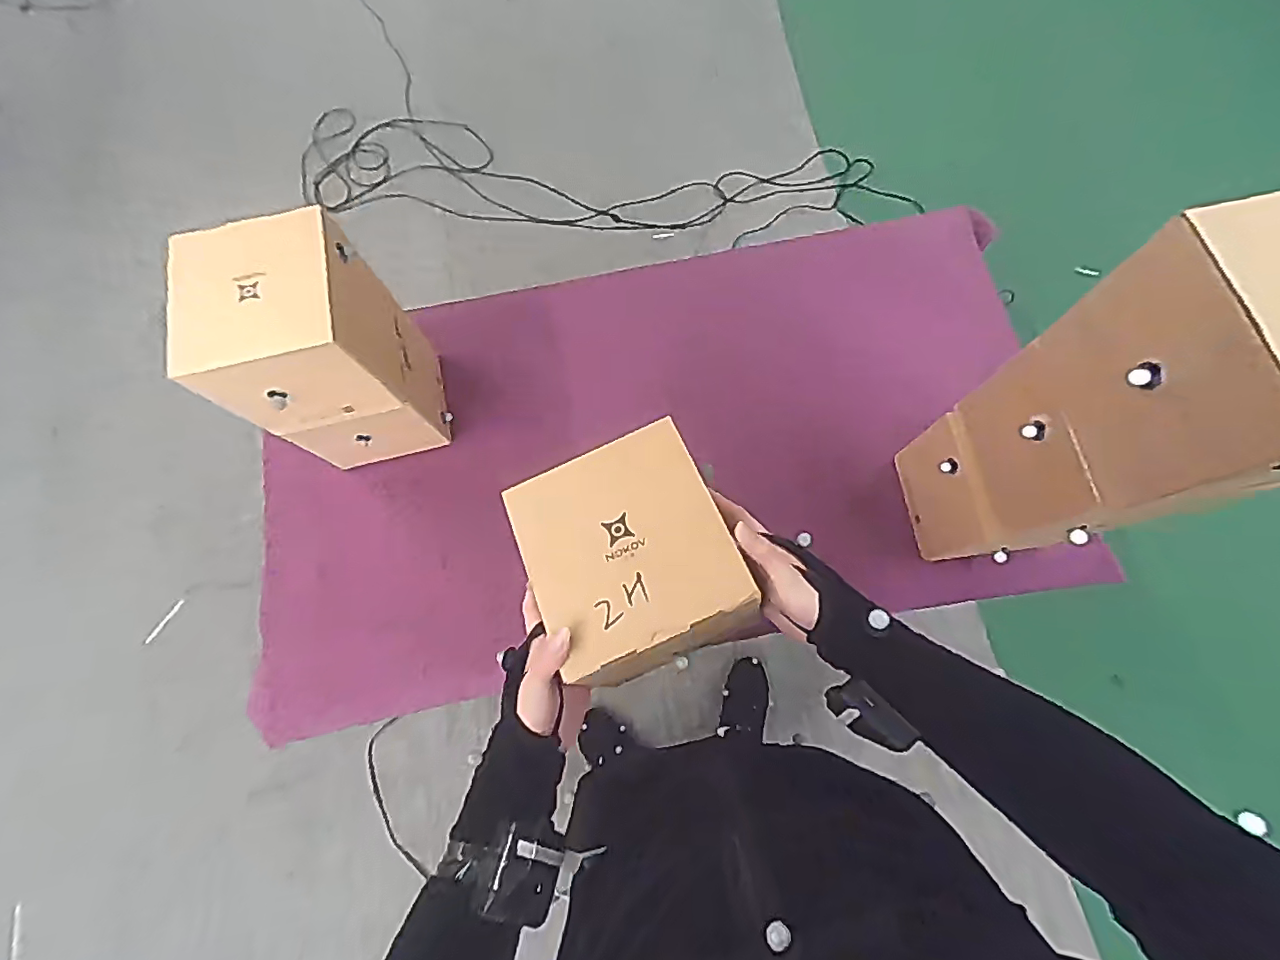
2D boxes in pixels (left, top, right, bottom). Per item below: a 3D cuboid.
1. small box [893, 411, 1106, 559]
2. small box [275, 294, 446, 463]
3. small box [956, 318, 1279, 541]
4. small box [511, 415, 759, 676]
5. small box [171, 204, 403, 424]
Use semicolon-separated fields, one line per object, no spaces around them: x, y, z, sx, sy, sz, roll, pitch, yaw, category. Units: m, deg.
0.476;0.007;0.729;0.179;0.176;0.168;-7;73;0;small box
-0.400;-0.139;0.792;0.179;0.176;0.168;-14;75;-2;small box
0.472;-0.043;0.573;0.168;0.176;0.179;-7;73;2;small box
0.001;0.074;0.522;0.168;0.176;0.179;-24;66;1;small box
-0.398;-0.178;0.635;0.168;0.176;0.179;-13;74;-2;small box
